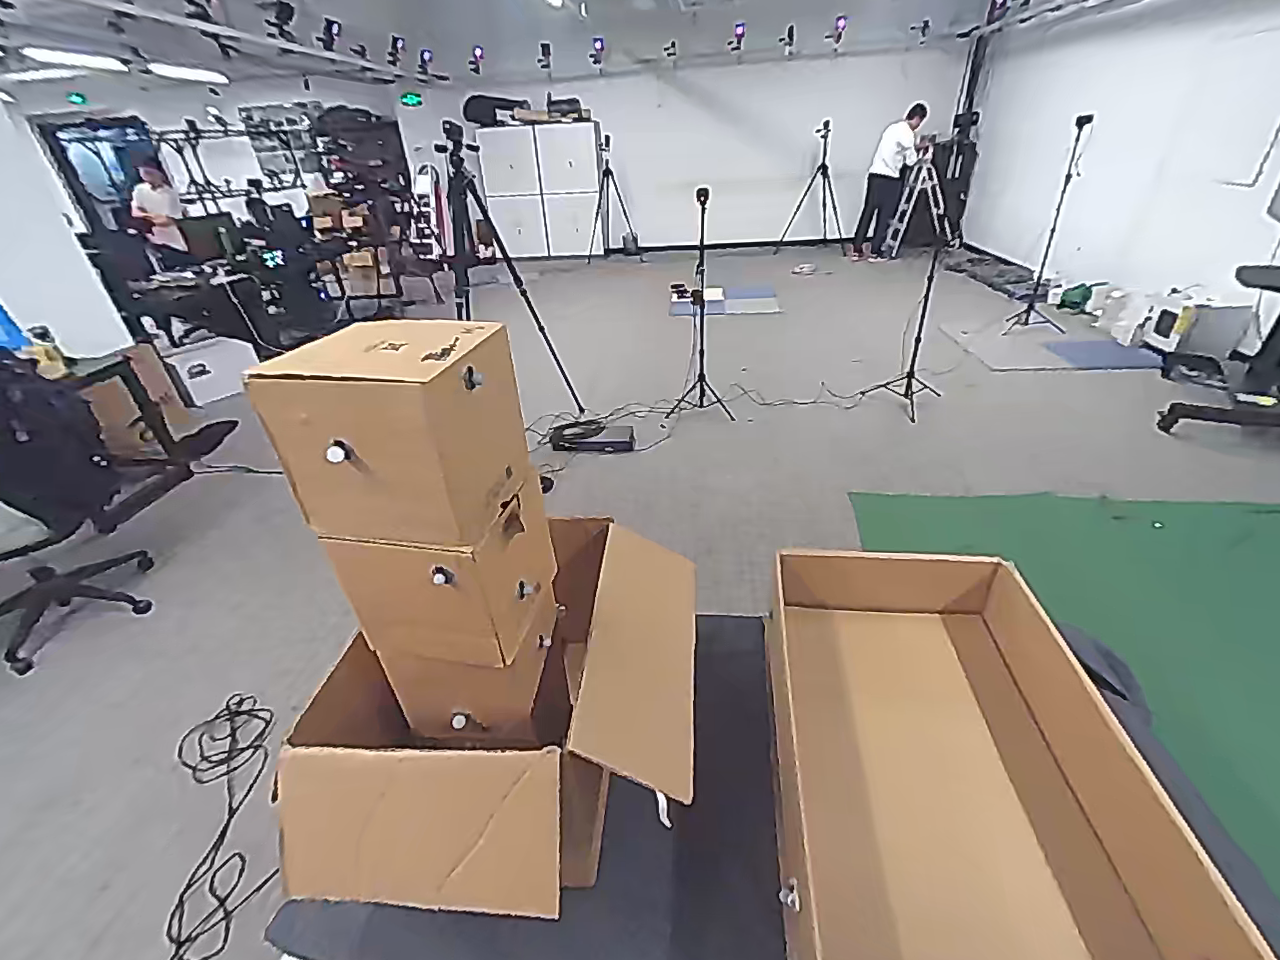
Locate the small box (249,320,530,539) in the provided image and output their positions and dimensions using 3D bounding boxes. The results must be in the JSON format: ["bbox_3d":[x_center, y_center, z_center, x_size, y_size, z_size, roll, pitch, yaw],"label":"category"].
[{"bbox_3d":[-0.230,-0.055,0.550,0.179,0.176,0.168,3,34,10],"label":"small box"}]

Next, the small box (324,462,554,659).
[{"bbox_3d":[-0.215,0.086,0.633,0.179,0.176,0.168,4,34,11],"label":"small box"}]
